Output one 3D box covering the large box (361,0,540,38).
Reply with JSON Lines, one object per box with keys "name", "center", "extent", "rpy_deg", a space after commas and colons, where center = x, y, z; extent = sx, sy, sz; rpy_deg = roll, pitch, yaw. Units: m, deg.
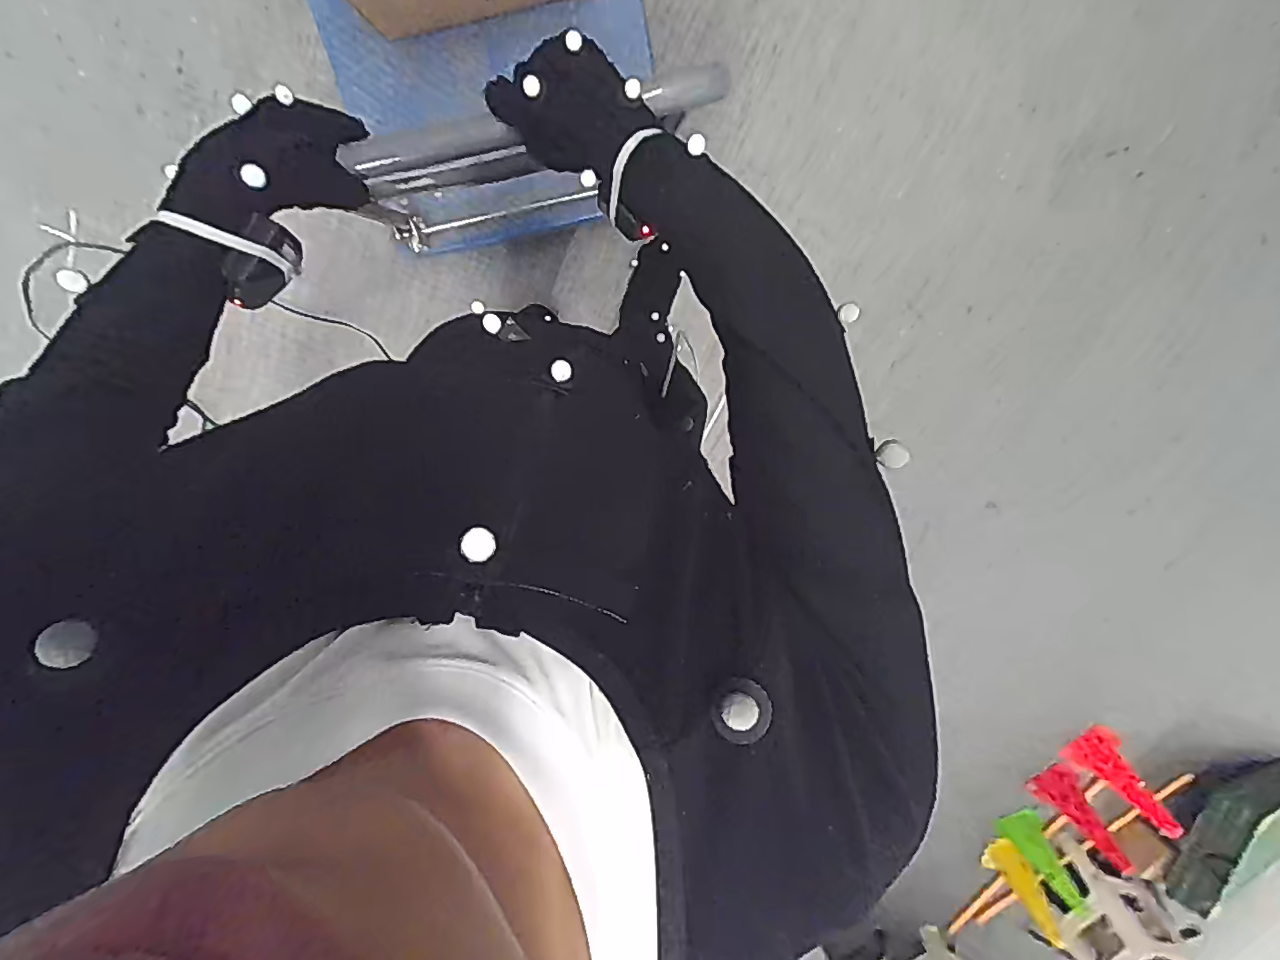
{"name": "large box", "center": [-0.262, -0.911, 0.773], "extent": [0.408, 0.320, 0.320], "rpy_deg": [-14, 114, 1]}
